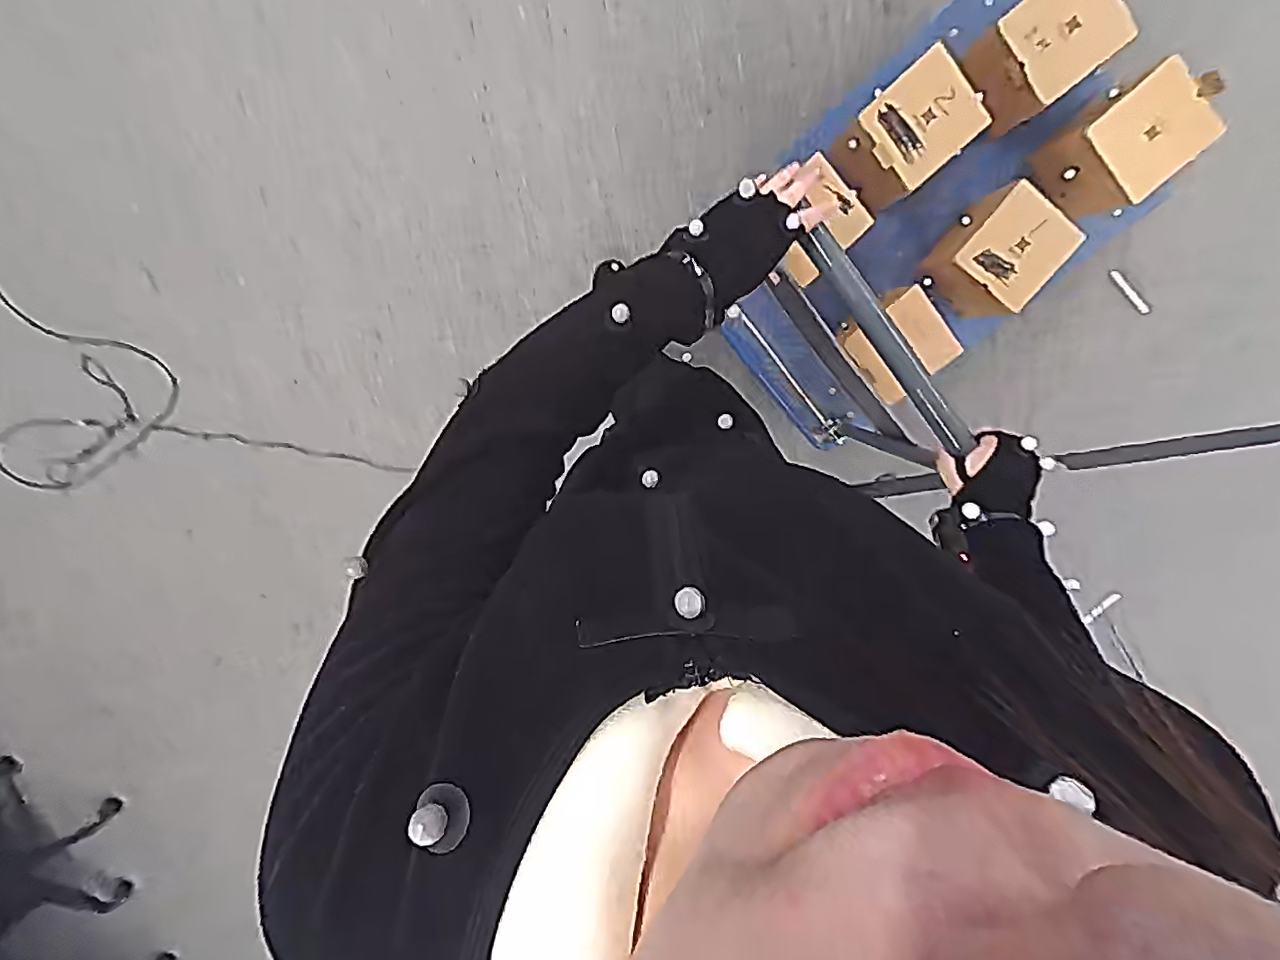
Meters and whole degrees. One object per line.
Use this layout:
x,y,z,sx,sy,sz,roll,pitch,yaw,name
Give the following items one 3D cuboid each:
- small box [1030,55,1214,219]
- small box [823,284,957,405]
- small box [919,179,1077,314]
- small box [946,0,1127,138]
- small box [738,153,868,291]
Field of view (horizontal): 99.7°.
0.892,-0.632,1.028,0.179,0.176,0.168,-42,99,11,small box
0.508,-0.282,1.136,0.179,0.176,0.168,-39,101,10,small box
0.696,-0.452,1.083,0.168,0.176,0.179,37,102,-7,small box
0.714,-0.781,0.994,0.179,0.176,0.168,-37,100,11,small box
0.312,-0.500,1.083,0.179,0.176,0.168,-42,100,12,small box
